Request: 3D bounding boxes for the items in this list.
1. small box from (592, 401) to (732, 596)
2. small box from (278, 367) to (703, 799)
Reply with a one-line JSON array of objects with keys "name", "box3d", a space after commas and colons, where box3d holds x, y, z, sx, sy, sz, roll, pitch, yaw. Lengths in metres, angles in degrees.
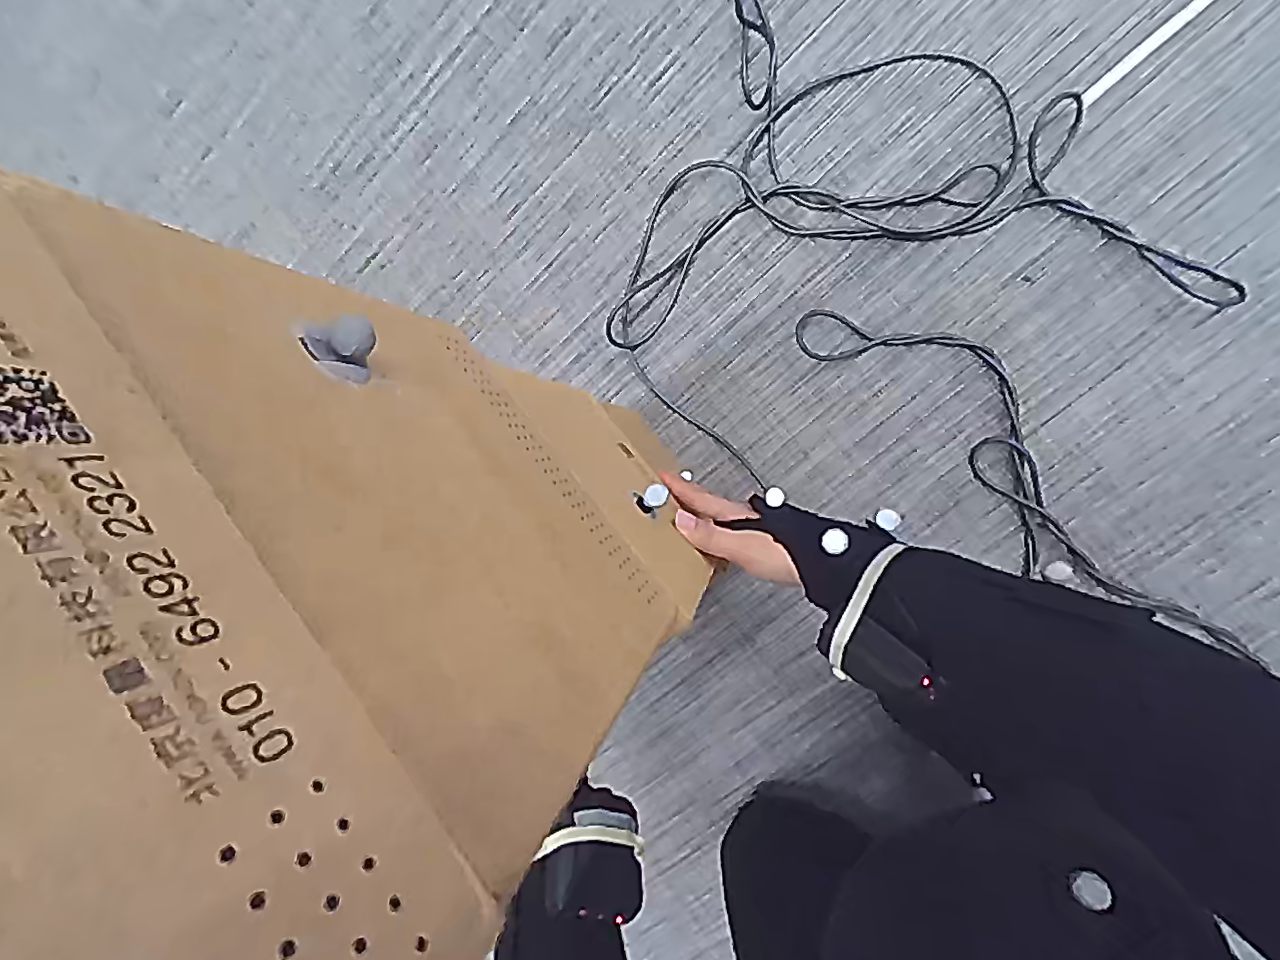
[{"name": "small box", "box3d": [-0.030, 0.048, 0.514, 0.168, 0.176, 0.179, -40, 86, 13]}, {"name": "small box", "box3d": [-0.073, 0.051, 0.356, 0.179, 0.176, 0.168, -41, 85, 14]}]
